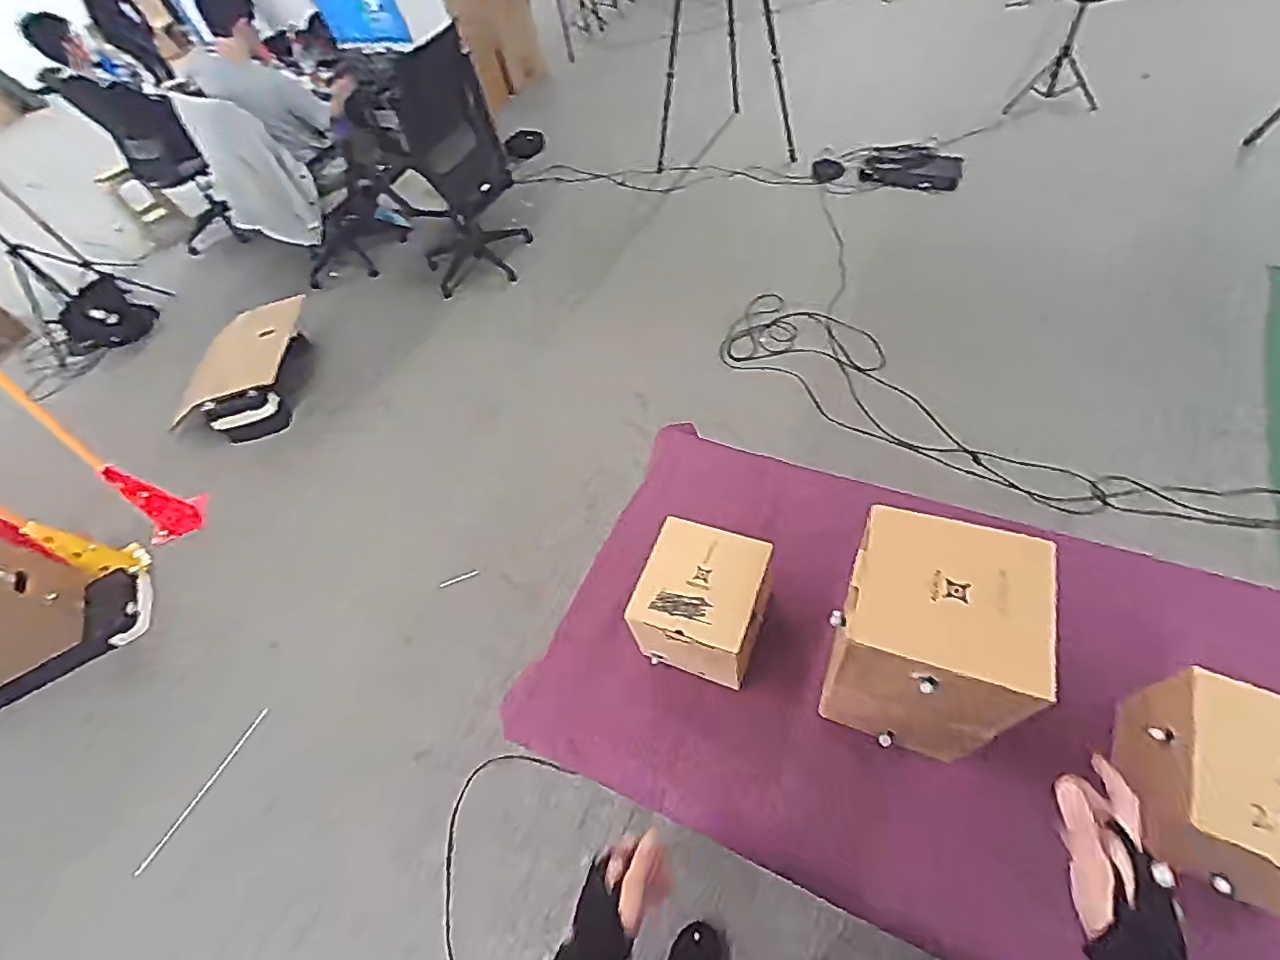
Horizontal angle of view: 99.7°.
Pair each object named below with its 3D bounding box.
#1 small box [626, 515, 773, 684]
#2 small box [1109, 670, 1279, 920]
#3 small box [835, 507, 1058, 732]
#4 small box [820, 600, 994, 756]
[{"bbox_3d":[0.100,0.187,0.830,0.168,0.176,0.179,15,58,21],"label":"small box"},{"bbox_3d":[0.660,0.347,0.595,0.168,0.176,0.179,20,61,25],"label":"small box"},{"bbox_3d":[0.325,0.157,0.600,0.179,0.176,0.168,14,60,22],"label":"small box"},{"bbox_3d":[0.356,0.252,0.729,0.179,0.176,0.168,15,59,21],"label":"small box"}]
